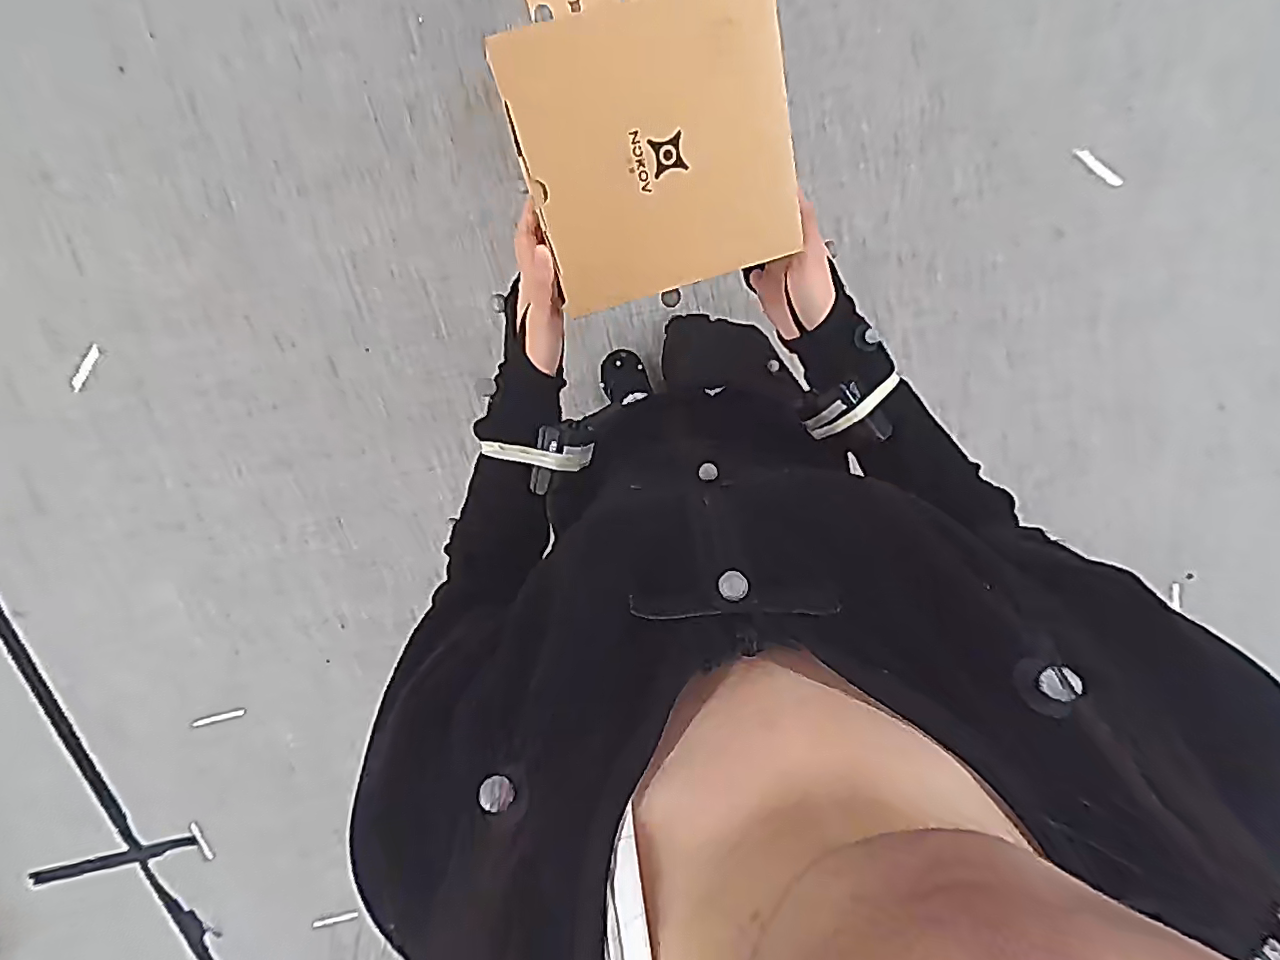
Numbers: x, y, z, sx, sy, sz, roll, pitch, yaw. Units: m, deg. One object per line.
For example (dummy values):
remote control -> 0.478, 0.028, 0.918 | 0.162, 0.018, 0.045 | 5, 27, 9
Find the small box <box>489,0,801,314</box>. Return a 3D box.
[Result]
small box -> 0.002, -0.246, 0.420 | 0.179, 0.176, 0.168 | -17, 116, 1
